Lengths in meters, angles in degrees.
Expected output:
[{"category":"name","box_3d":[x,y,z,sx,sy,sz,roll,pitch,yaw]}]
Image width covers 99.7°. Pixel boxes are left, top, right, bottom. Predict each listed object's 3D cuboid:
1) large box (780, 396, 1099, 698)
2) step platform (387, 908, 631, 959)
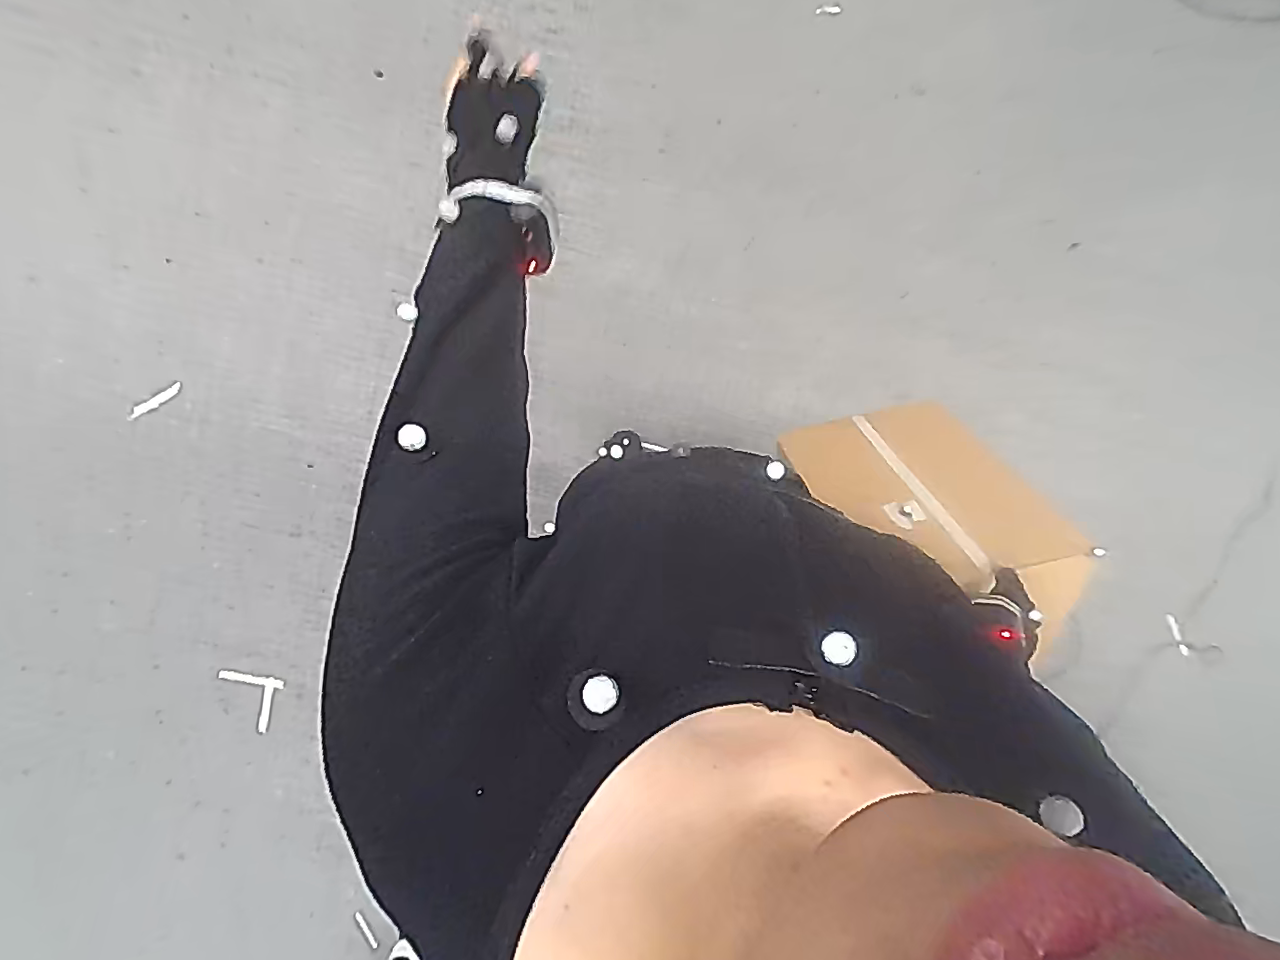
[{"category":"large box","box_3d":[0.469,0.107,0.976,0.320,0.408,0.320,-14,131,1]},{"category":"step platform","box_3d":[-0.370,1.429,1.484,0.684,0.204,0.286,11,94,-1]}]
